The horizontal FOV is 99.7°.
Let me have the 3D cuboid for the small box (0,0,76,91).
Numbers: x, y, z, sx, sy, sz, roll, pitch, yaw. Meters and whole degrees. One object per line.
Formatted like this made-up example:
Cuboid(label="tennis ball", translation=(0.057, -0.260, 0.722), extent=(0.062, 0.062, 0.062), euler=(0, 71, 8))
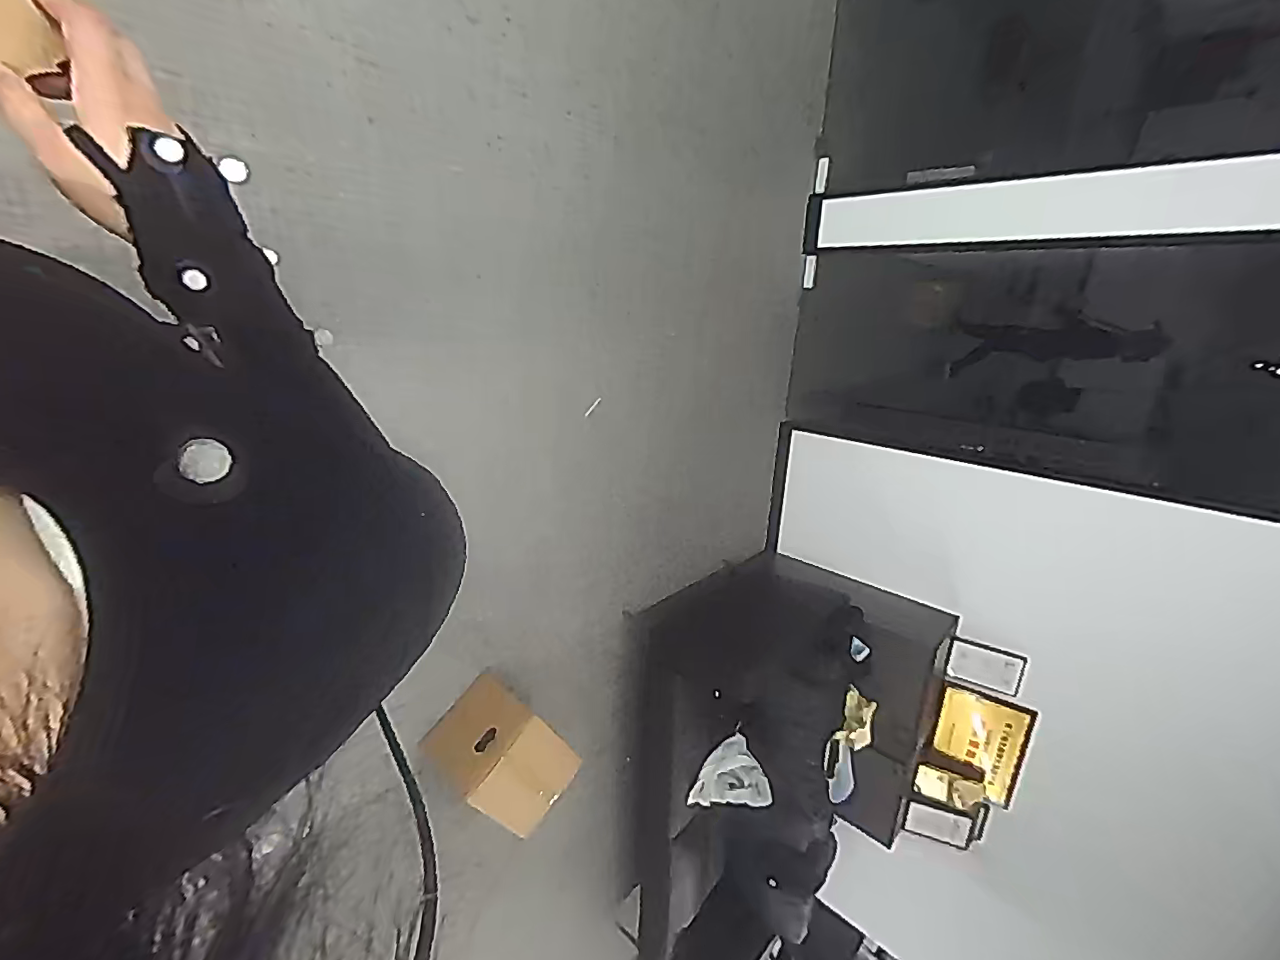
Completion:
Cuboid(label="small box", translation=(-0.455, -0.311, 0.281), extent=(0.179, 0.176, 0.168), euler=(-29, 153, -5))
